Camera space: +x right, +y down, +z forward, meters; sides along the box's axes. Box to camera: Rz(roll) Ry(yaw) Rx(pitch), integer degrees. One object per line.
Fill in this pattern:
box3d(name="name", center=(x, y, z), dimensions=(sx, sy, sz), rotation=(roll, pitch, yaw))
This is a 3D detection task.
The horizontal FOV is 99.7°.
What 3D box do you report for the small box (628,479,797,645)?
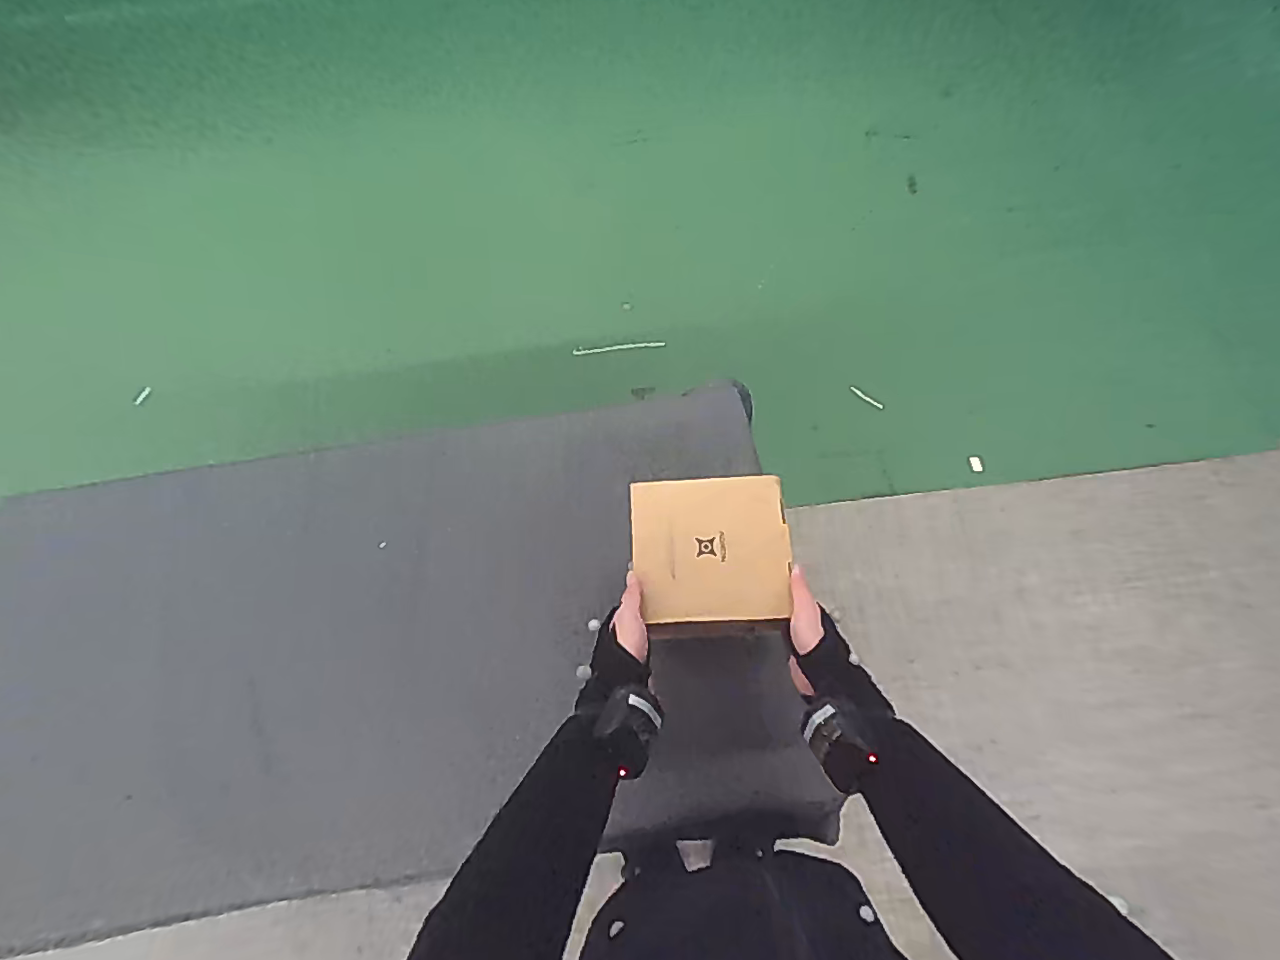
box3d(name="small box", center=(0.083, 0.109, 0.671), dimensions=(0.179, 0.176, 0.168), rotation=(-5, 67, 5))
